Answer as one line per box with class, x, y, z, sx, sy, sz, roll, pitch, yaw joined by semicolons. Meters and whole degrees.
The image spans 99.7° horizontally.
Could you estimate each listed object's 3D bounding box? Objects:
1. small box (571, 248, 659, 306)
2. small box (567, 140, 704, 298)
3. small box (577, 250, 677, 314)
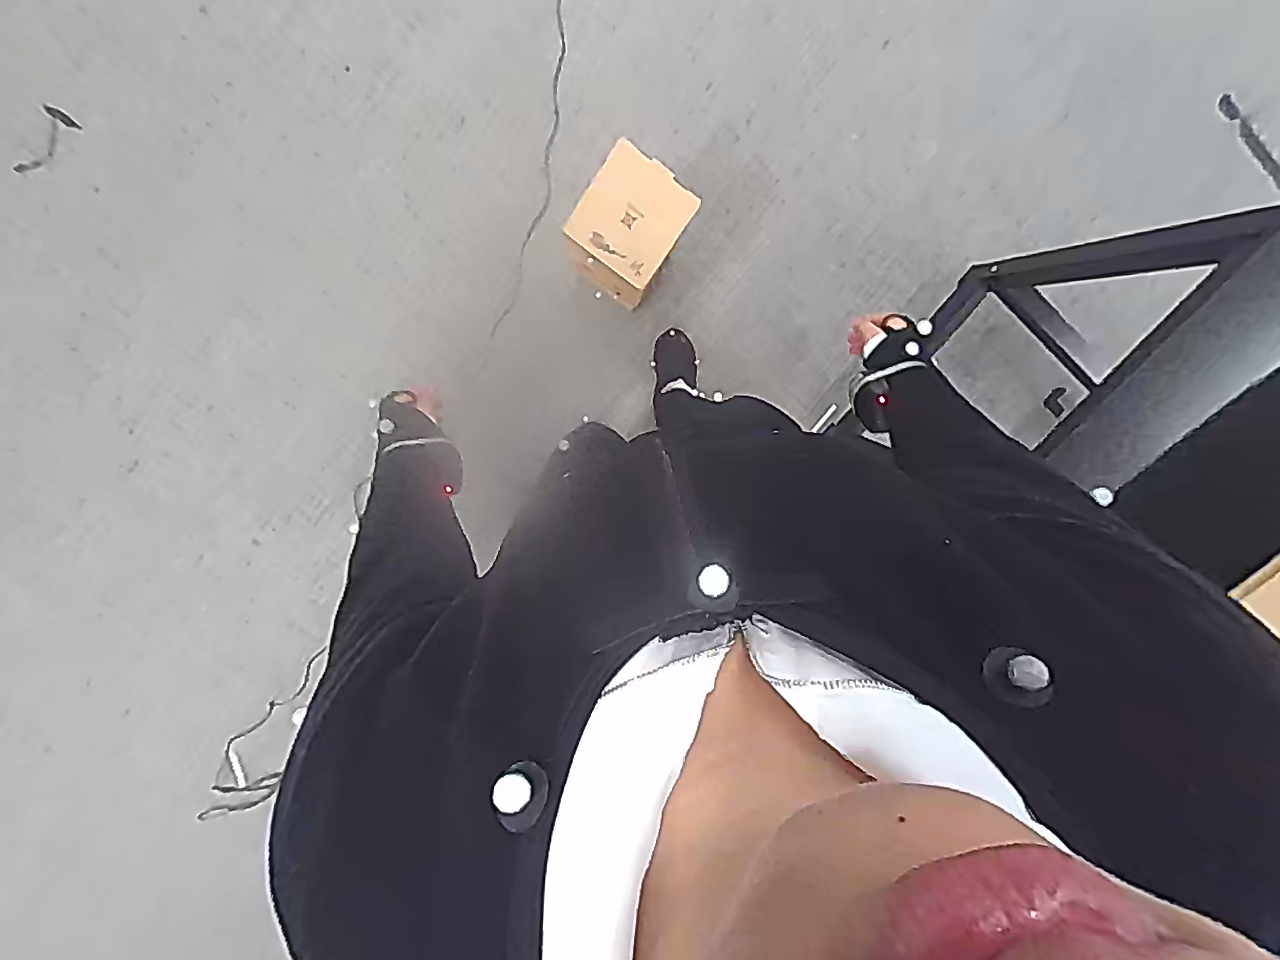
small box;-0.026;-0.484;1.130;0.168;0.176;0.179;31;100;-10
small box;-0.013;-0.451;0.968;0.168;0.176;0.179;35;99;-9
small box;-0.033;-0.517;1.289;0.168;0.176;0.179;35;101;-9
